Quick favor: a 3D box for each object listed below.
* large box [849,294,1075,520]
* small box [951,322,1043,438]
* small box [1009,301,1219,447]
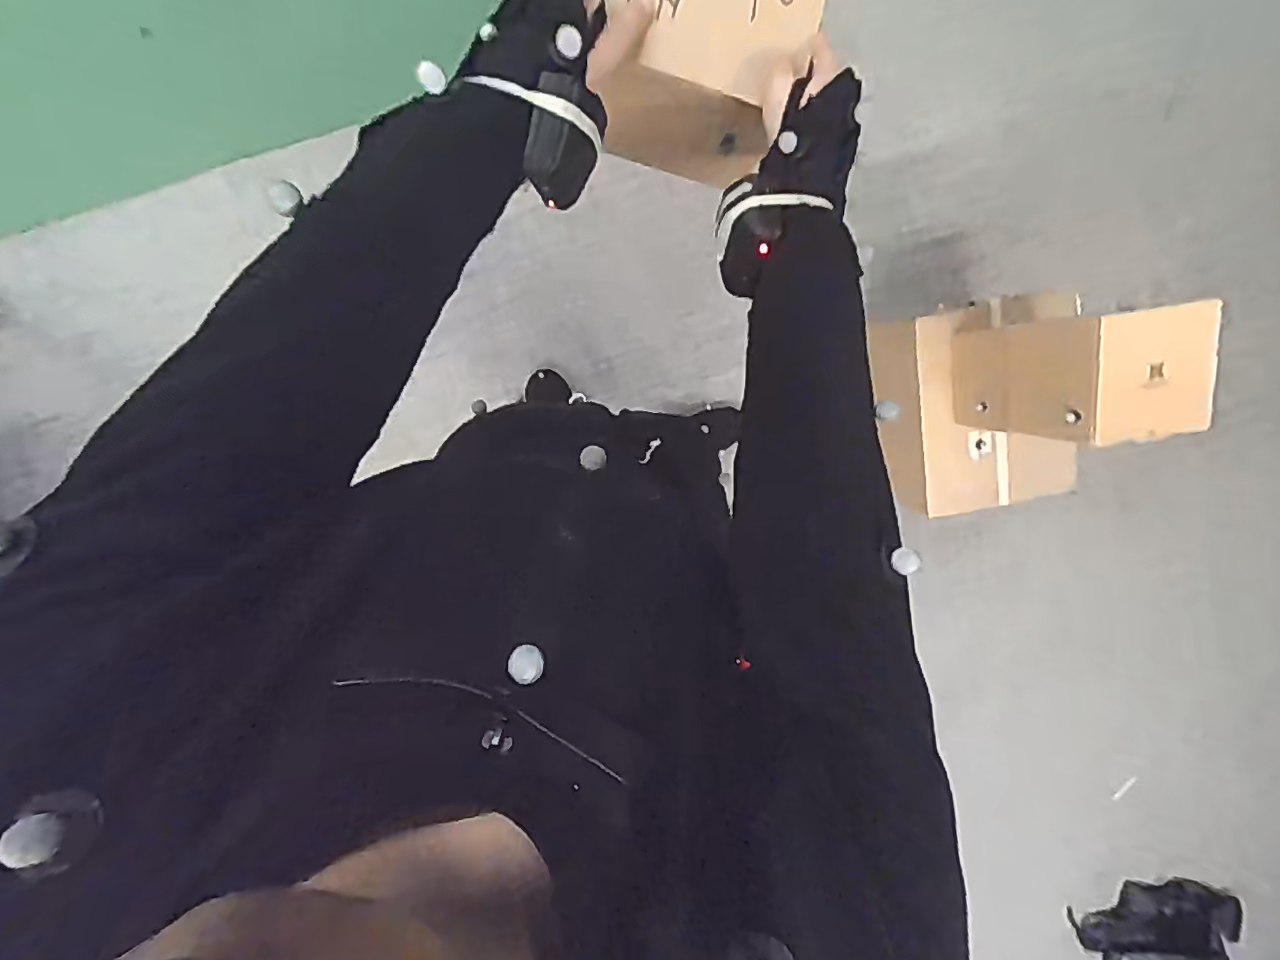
[{"bbox_3d":[0.698,-0.168,1.210,0.320,0.320,0.408,-11,103,1],"label":"large box"},{"bbox_3d":[0.683,-0.183,0.959,0.168,0.176,0.179,-11,101,-1],"label":"small box"},{"bbox_3d":[0.682,-0.155,0.799,0.168,0.176,0.179,-9,103,-2],"label":"small box"}]
